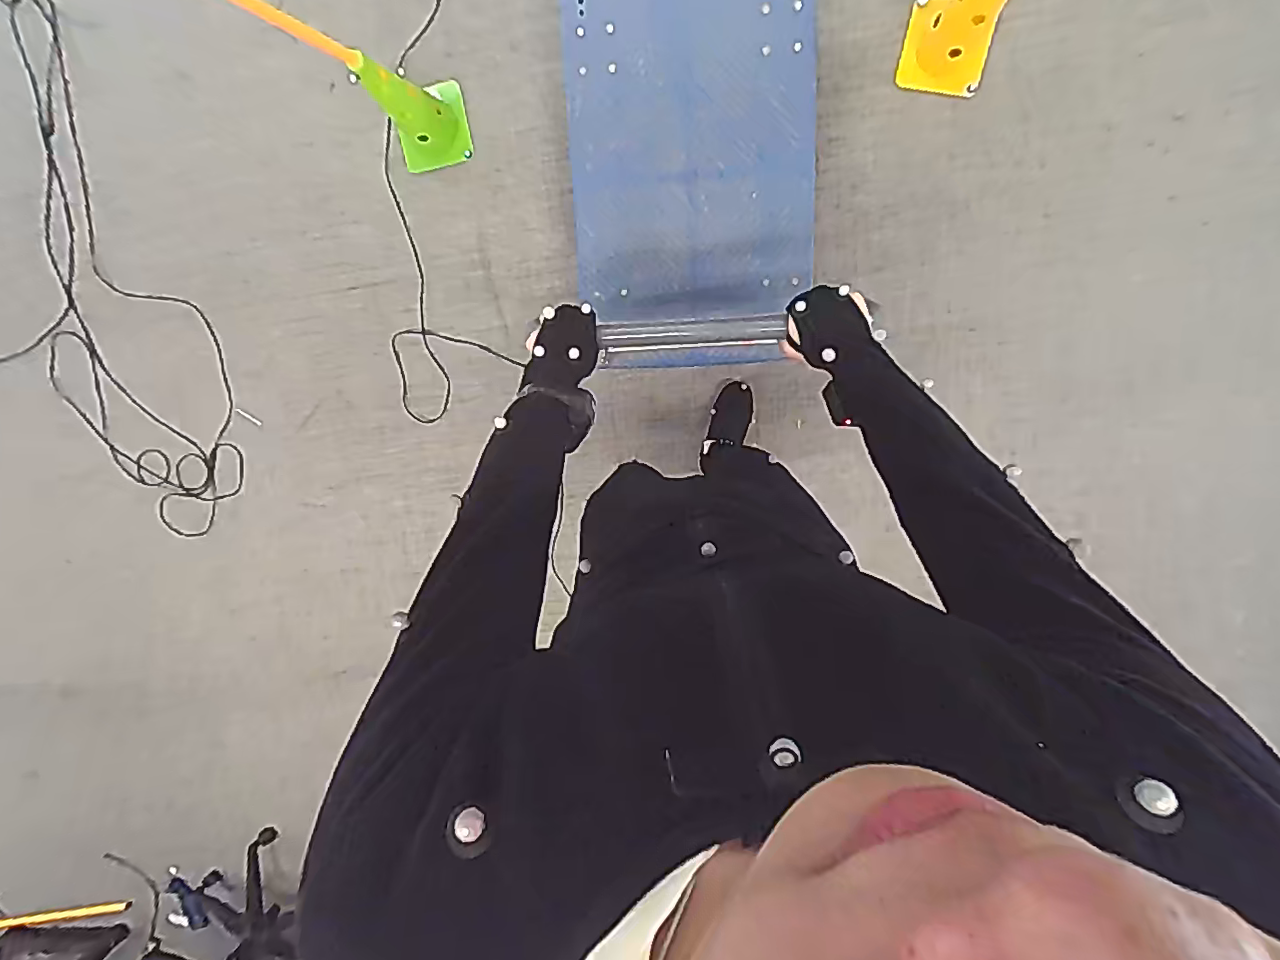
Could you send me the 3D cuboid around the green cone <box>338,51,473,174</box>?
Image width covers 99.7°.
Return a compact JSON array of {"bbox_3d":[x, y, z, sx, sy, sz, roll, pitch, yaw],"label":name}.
[{"bbox_3d":[-0.591,-0.927,1.312,0.202,0.368,0.200,-9,101,10],"label":"green cone"}]
